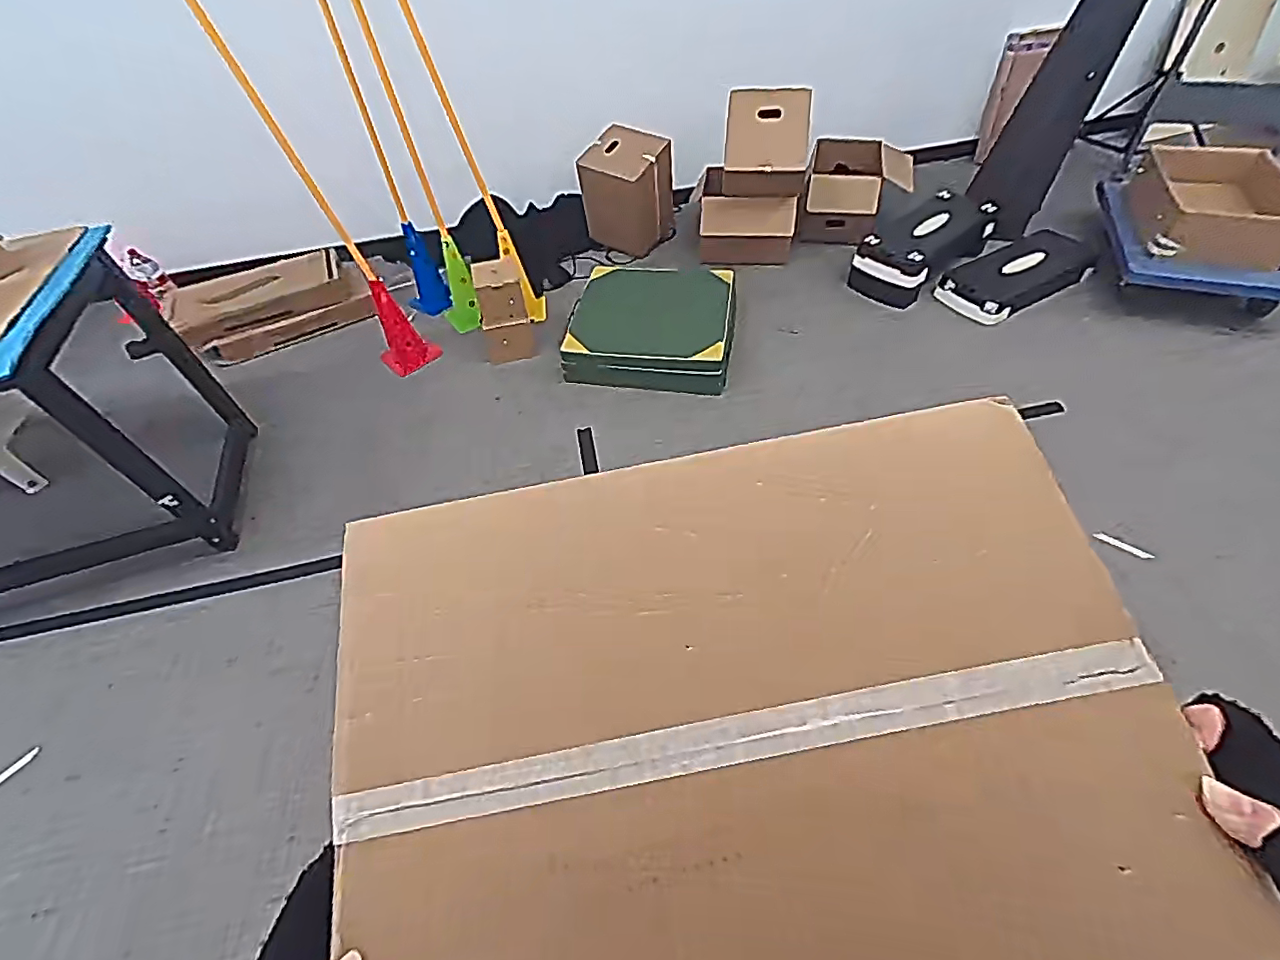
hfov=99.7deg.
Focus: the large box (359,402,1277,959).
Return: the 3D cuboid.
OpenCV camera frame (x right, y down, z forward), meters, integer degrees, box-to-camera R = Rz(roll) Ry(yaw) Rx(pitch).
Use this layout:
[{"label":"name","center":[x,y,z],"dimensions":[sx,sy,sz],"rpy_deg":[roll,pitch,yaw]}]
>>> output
[{"label":"large box","center":[0.061,0.186,0.416],"dimensions":[0.408,0.320,0.320],"rpy_deg":[-11,67,0]}]
